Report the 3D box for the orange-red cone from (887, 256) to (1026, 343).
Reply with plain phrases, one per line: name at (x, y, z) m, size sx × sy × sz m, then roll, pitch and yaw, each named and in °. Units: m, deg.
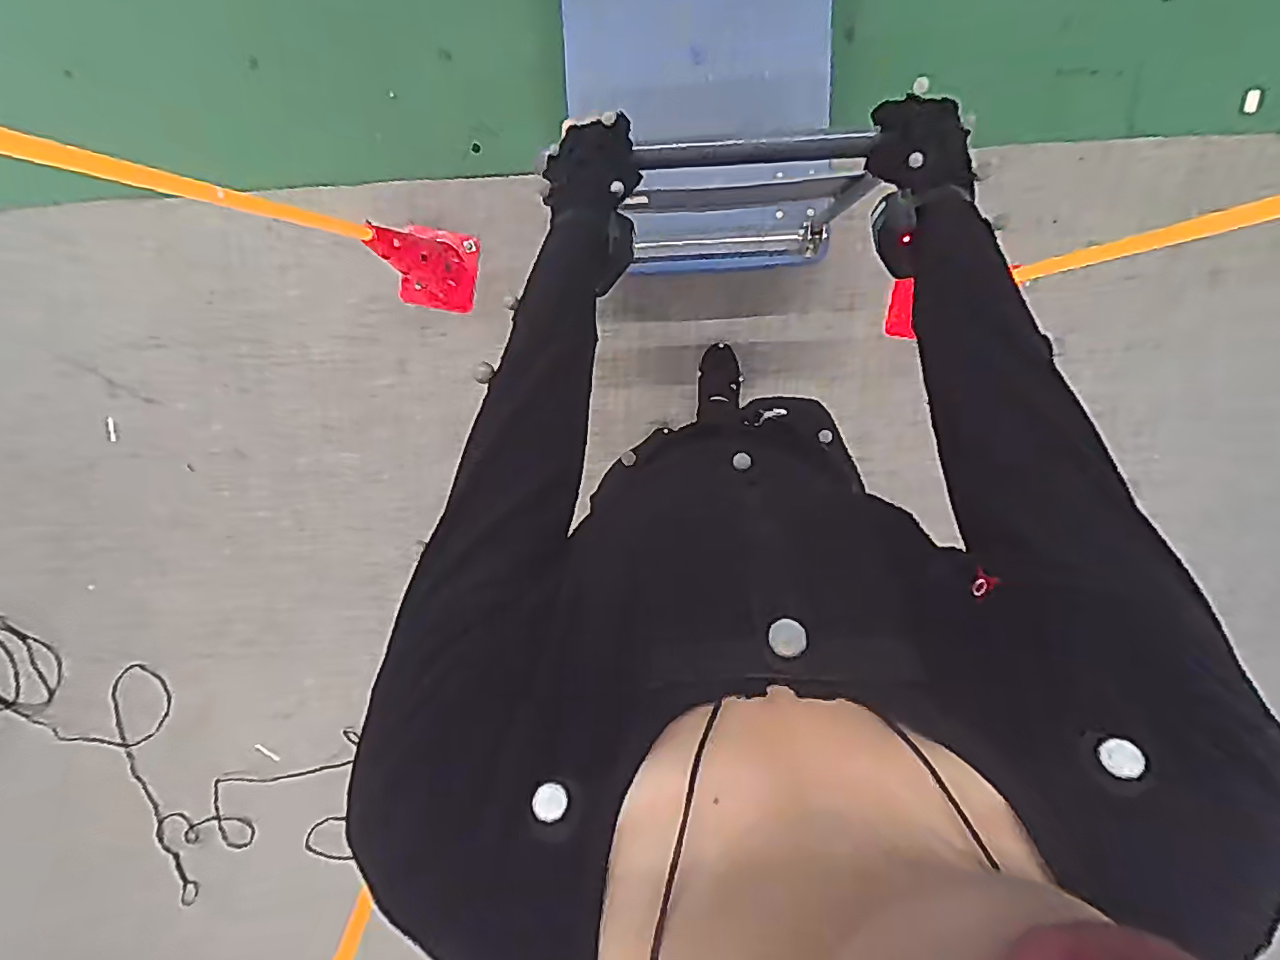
orange-red cone at (0.742, -0.432, 1.221) m, size 0.198 × 0.360 × 0.199 m, roll 9°, pitch 101°, yaw 1°
